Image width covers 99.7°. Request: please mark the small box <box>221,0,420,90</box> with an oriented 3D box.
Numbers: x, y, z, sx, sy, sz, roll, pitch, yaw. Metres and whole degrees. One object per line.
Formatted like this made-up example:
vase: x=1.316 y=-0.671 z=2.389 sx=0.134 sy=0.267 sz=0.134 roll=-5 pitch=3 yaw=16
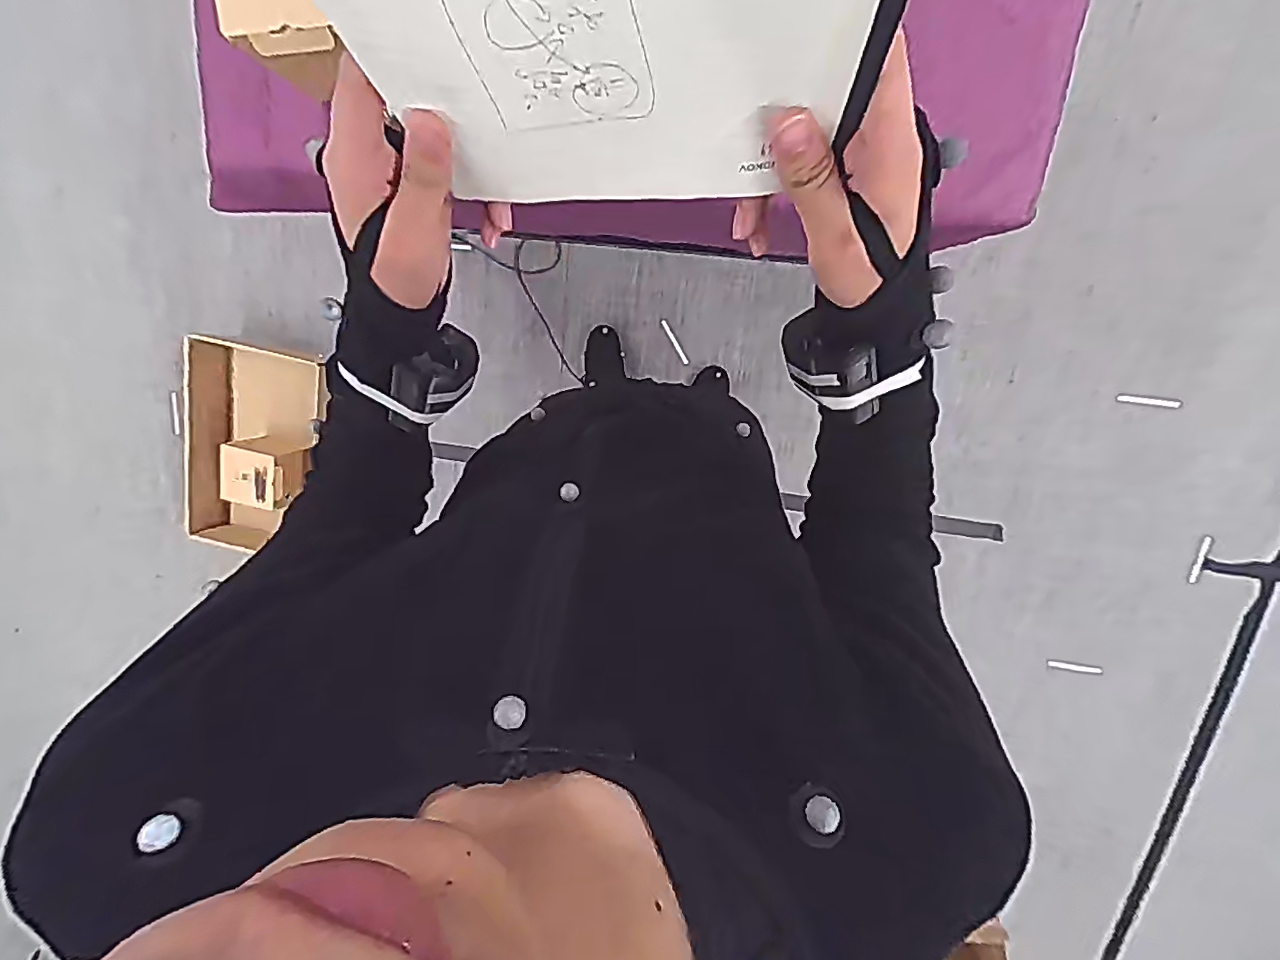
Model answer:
small box: x=-0.402 y=-0.628 z=0.690 sx=0.168 sy=0.176 sz=0.179 roll=0 pitch=103 yaw=6
